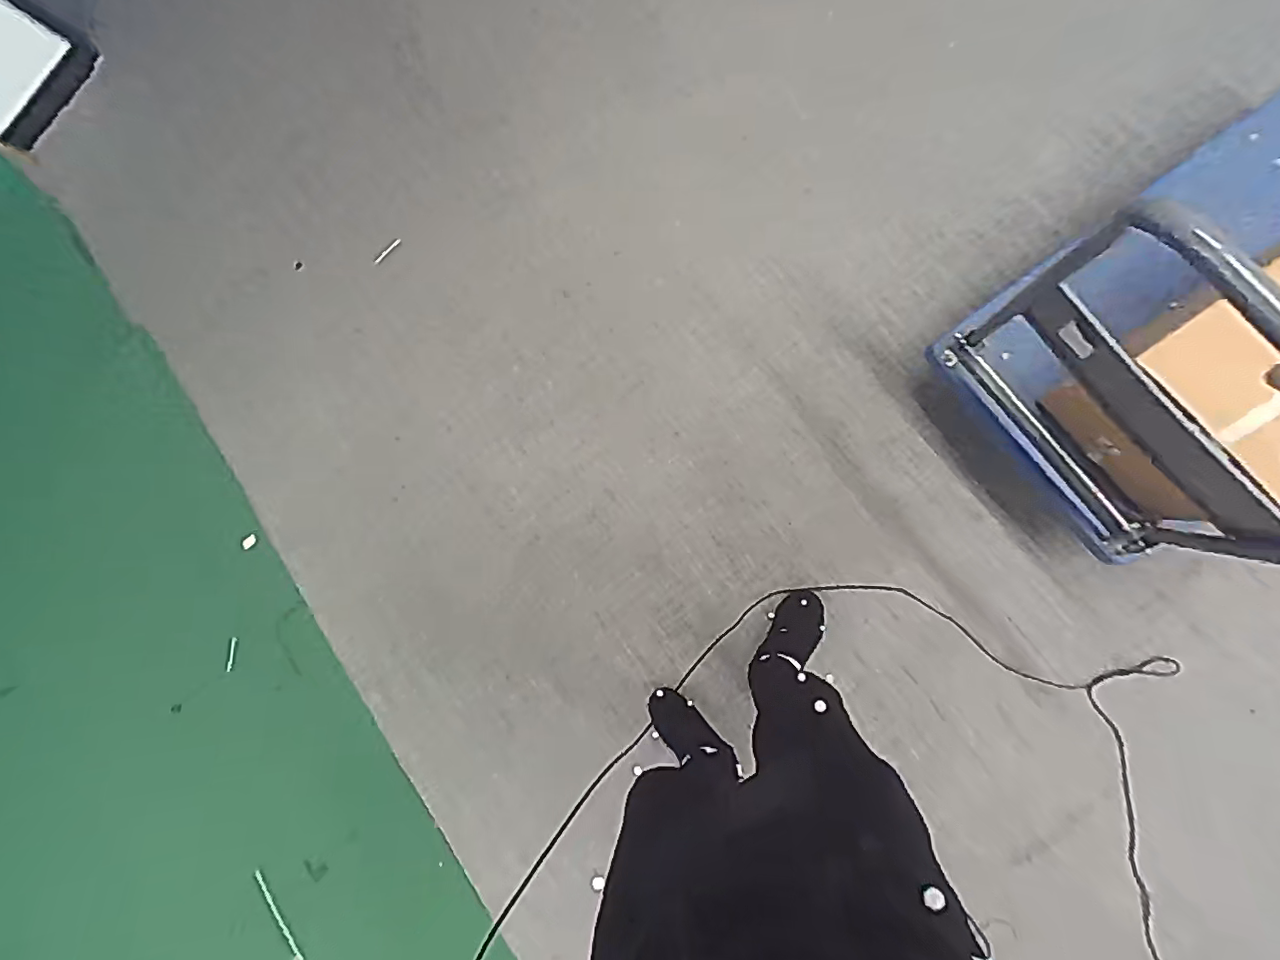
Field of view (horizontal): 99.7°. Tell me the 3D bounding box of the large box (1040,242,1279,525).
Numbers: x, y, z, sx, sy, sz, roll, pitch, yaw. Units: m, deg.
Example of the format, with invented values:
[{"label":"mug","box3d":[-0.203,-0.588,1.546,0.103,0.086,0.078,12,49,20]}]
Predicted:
[{"label":"large box","box3d":[1.015,-0.164,0.904,0.408,0.320,0.320,-38,80,9]}]
